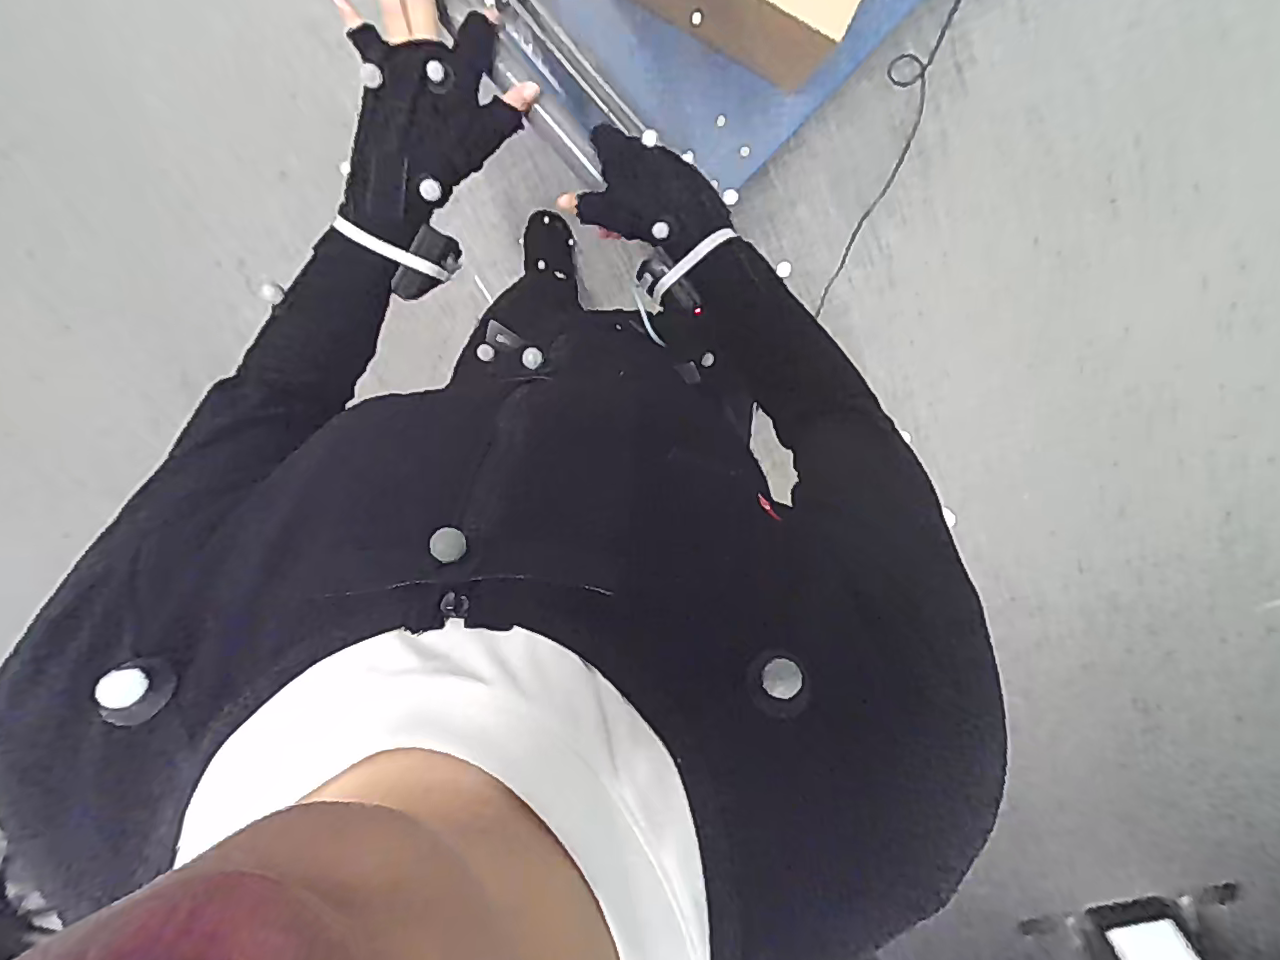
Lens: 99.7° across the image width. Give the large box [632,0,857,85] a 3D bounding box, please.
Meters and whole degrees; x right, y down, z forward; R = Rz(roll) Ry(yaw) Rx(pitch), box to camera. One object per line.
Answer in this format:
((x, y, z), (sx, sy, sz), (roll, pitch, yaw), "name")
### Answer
((0.157, -0.856, 0.775), (0.408, 0.320, 0.320), (24, 113, -7), "large box")
